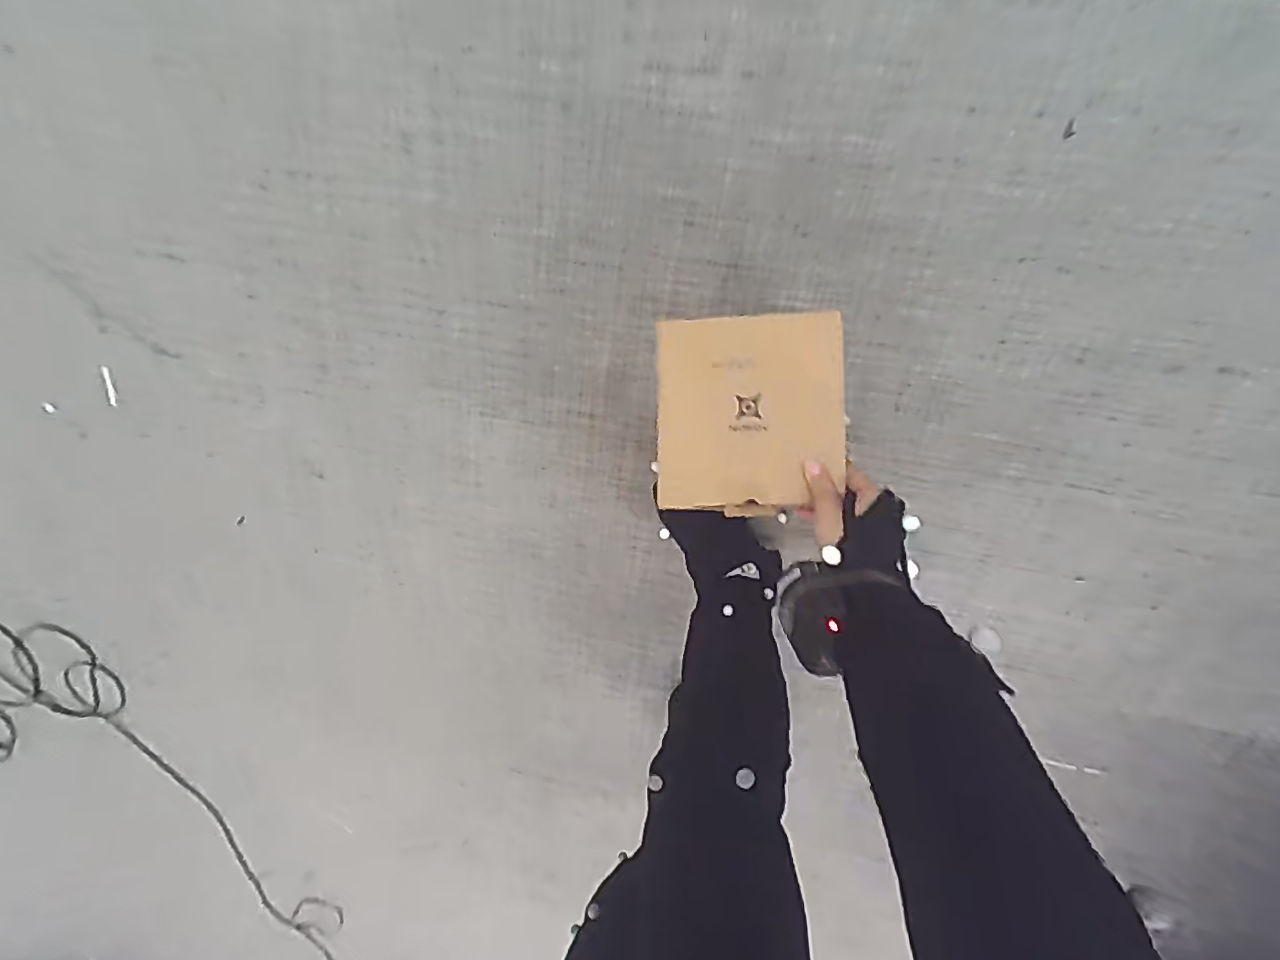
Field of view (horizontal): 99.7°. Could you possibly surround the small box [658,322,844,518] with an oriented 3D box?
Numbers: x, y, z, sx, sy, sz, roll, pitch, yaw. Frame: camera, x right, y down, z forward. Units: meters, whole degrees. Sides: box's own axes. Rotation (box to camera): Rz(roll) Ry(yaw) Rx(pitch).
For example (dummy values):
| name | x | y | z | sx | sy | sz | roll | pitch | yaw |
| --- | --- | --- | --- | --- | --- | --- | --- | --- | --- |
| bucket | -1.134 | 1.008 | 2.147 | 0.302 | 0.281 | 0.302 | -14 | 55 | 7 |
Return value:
| name | x | y | z | sx | sy | sz | roll | pitch | yaw |
| --- | --- | --- | --- | --- | --- | --- | --- | --- | --- |
| small box | 0.111 | -0.050 | 0.565 | 0.168 | 0.176 | 0.179 | 0 | 86 | 8 |
